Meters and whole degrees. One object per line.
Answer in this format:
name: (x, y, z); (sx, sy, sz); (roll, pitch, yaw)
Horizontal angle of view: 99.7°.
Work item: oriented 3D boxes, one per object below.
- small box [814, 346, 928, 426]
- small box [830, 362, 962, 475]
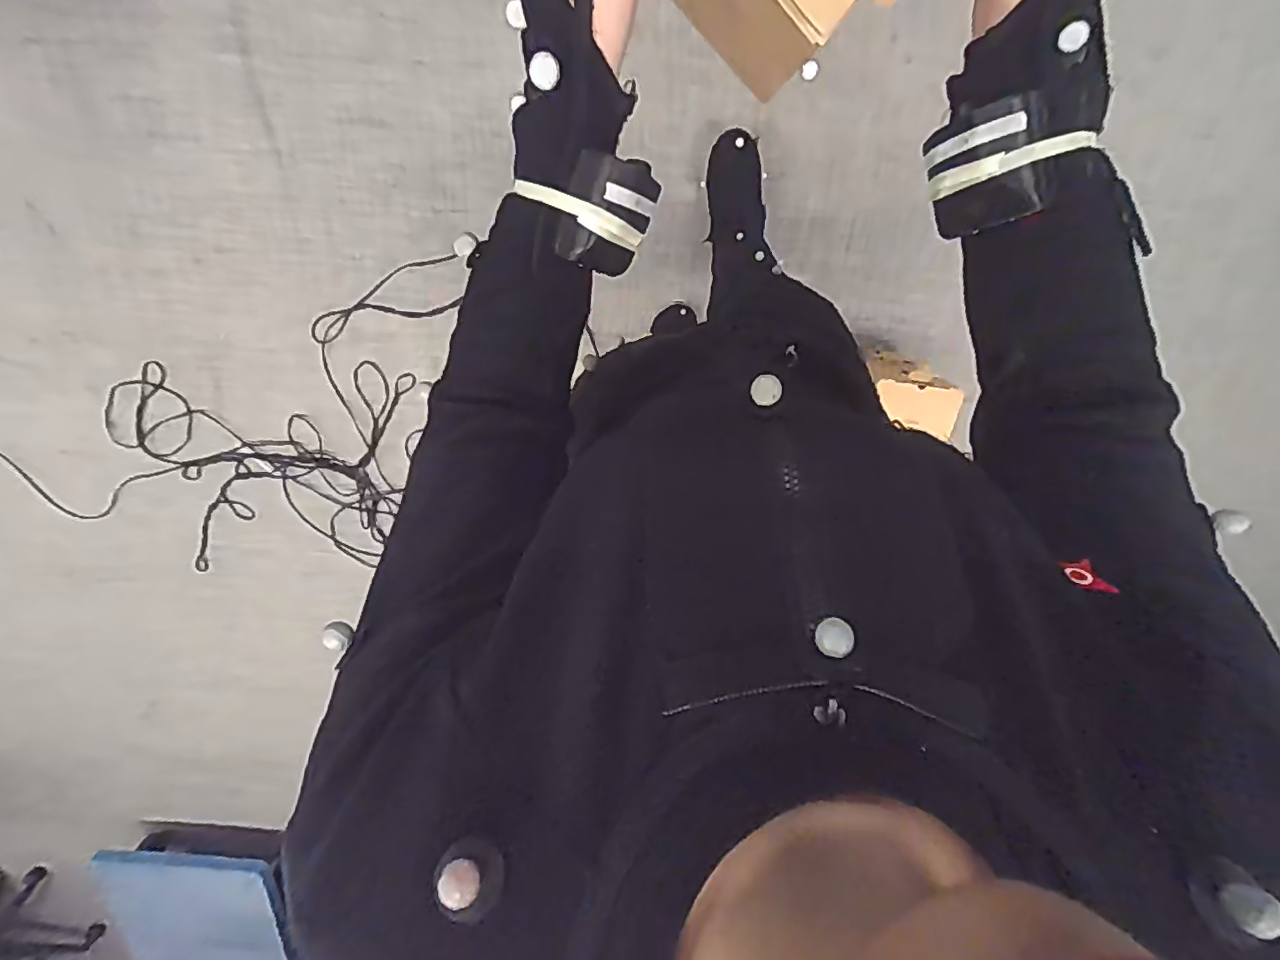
small box: (0.516, -0.203, 1.238); (0.168, 0.176, 0.179); (6, 112, -2)
small box: (0.501, -0.129, 1.092); (0.168, 0.176, 0.179); (7, 112, -2)
